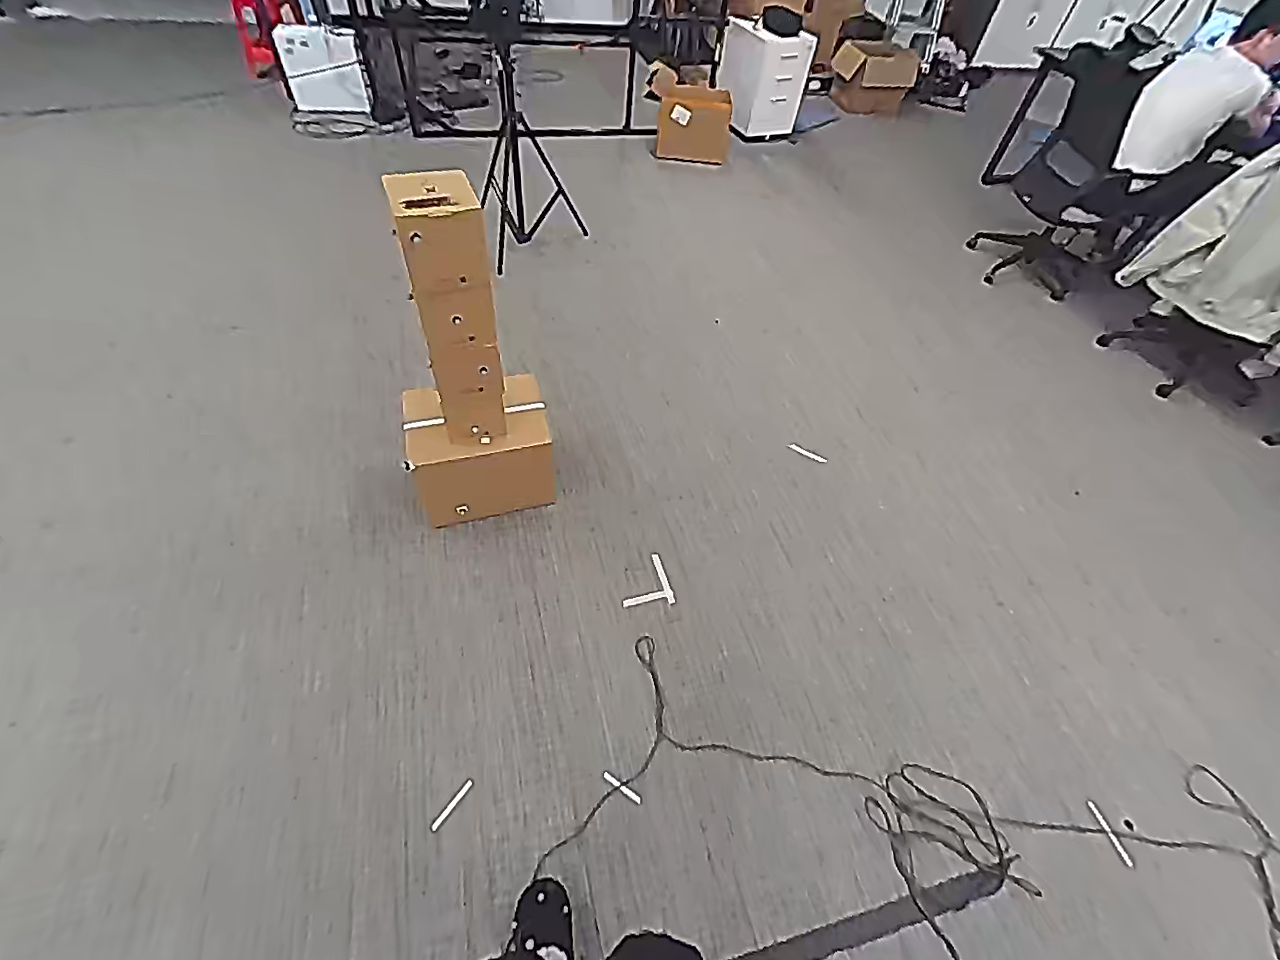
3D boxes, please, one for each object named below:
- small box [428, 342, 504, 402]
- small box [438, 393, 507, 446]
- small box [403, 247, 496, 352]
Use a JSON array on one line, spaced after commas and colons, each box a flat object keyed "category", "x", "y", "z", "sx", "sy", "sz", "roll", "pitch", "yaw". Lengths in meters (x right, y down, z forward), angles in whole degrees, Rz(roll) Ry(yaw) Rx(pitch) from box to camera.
[{"category": "small box", "x": -0.457, "y": -0.318, "z": 1.411, "sx": 0.168, "sy": 0.176, "sz": 0.179, "roll": -12, "pitch": 54, "yaw": -17}, {"category": "small box", "x": -0.479, "y": -0.222, "z": 1.540, "sx": 0.168, "sy": 0.176, "sz": 0.179, "roll": -11, "pitch": 55, "yaw": -15}, {"category": "small box", "x": -0.446, "y": -0.422, "z": 1.283, "sx": 0.168, "sy": 0.176, "sz": 0.179, "roll": -15, "pitch": 56, "yaw": -20}]
